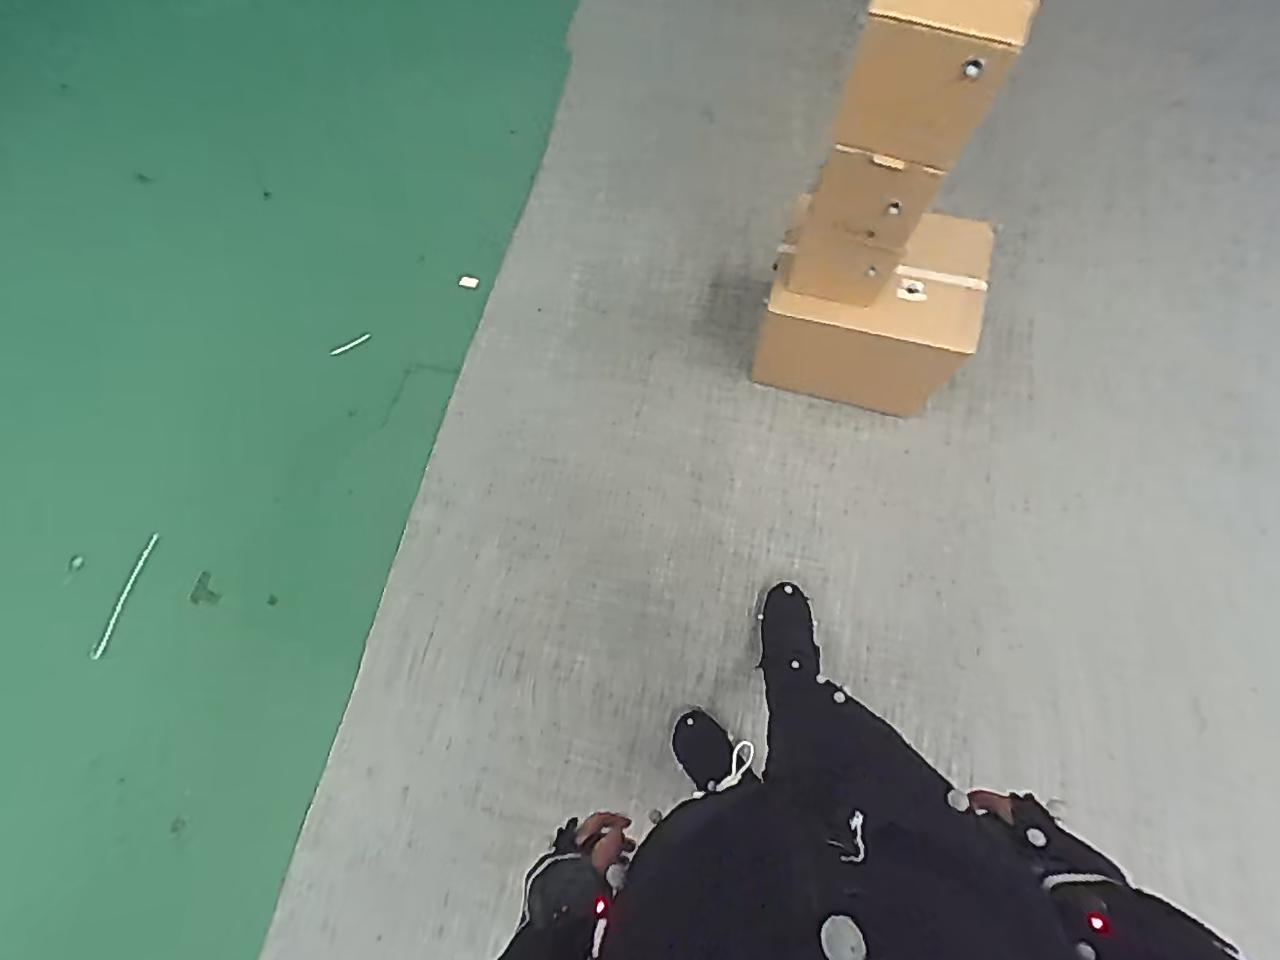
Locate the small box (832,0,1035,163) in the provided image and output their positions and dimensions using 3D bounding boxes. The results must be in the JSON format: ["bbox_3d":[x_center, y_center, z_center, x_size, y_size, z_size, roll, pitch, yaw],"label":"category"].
[{"bbox_3d":[0.372,-0.553,0.702,0.179,0.176,0.168,20,75,8],"label":"small box"}]

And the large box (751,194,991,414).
[{"bbox_3d":[0.499,-0.387,1.239,0.408,0.320,0.320,15,76,8],"label":"large box"}]

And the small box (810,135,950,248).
[{"bbox_3d":[0.383,-0.505,0.858,0.168,0.176,0.179,19,75,7],"label":"small box"}]
